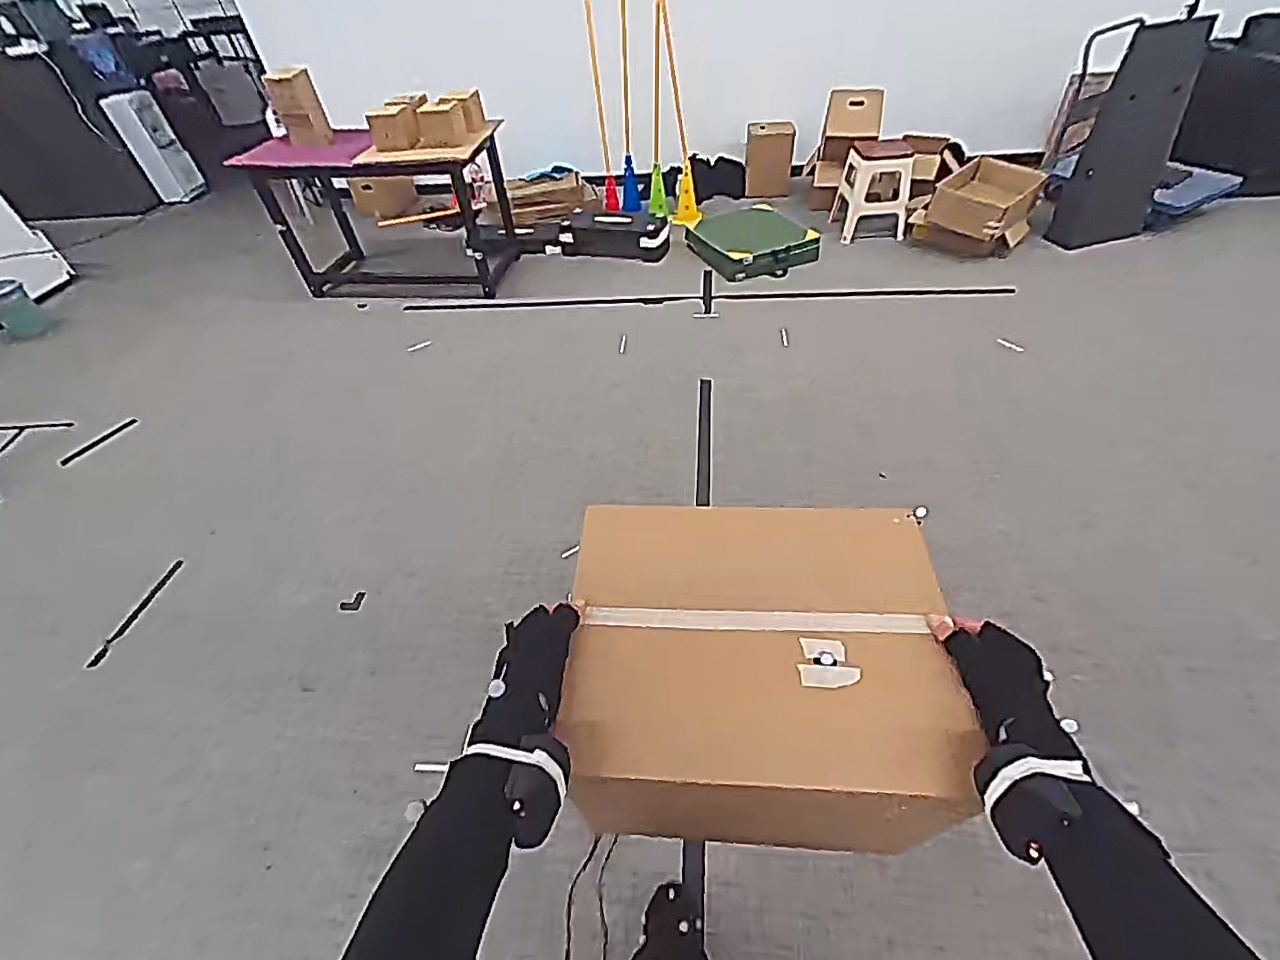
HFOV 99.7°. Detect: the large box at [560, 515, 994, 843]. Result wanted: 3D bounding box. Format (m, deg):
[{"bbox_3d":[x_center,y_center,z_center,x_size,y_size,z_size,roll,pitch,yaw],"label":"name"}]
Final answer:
[{"bbox_3d":[0.134,0.259,0.703,0.408,0.320,0.320,0,49,5],"label":"large box"}]
